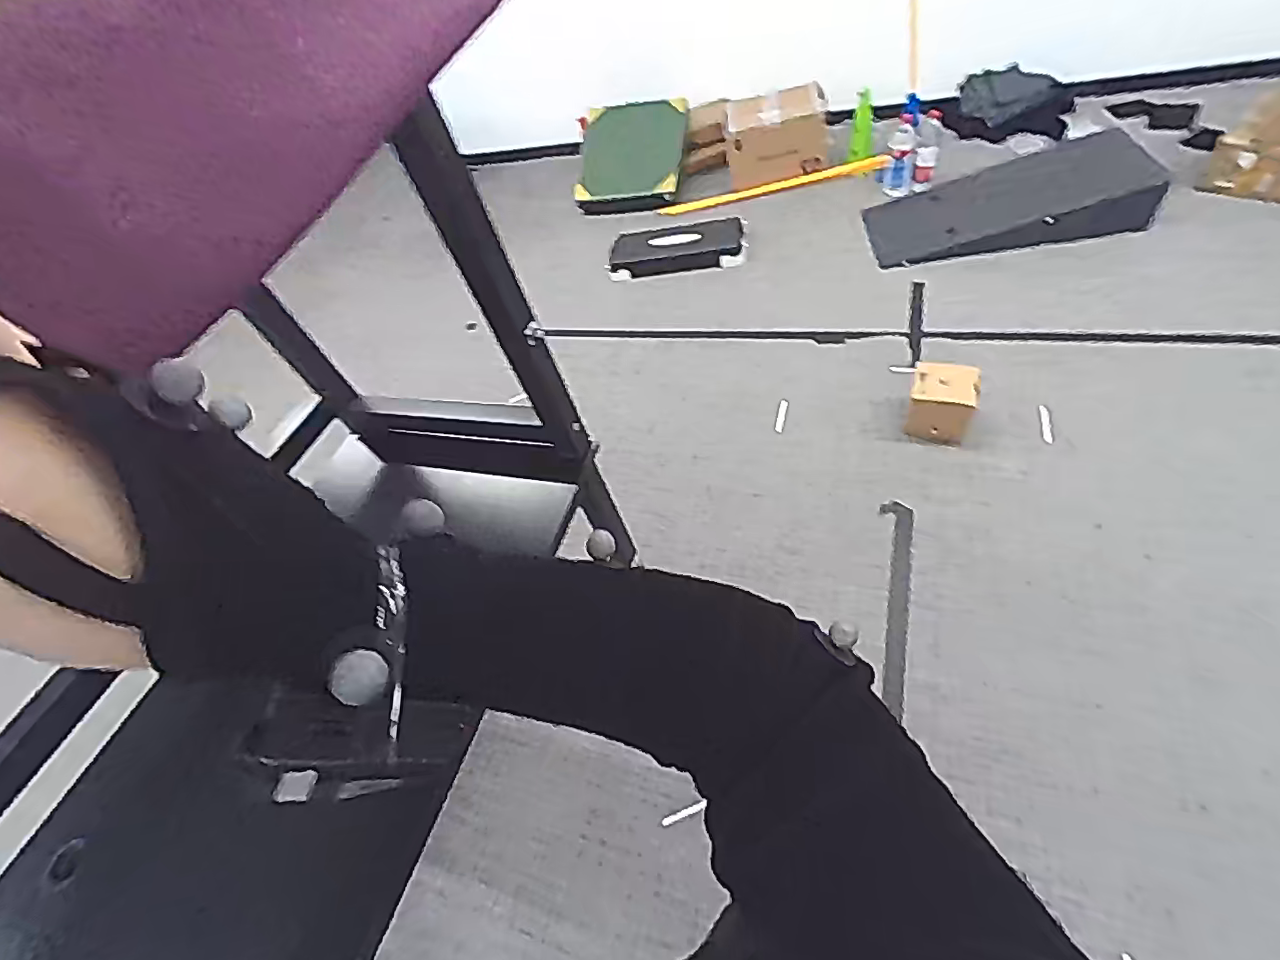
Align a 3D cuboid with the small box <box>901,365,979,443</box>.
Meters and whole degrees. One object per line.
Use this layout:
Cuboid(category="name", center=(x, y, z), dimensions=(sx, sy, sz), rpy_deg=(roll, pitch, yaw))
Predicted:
Cuboid(category="small box", center=(0.948, -0.236, 1.714), dimensions=(0.179, 0.176, 0.168), rpy_deg=(13, 57, 23))
